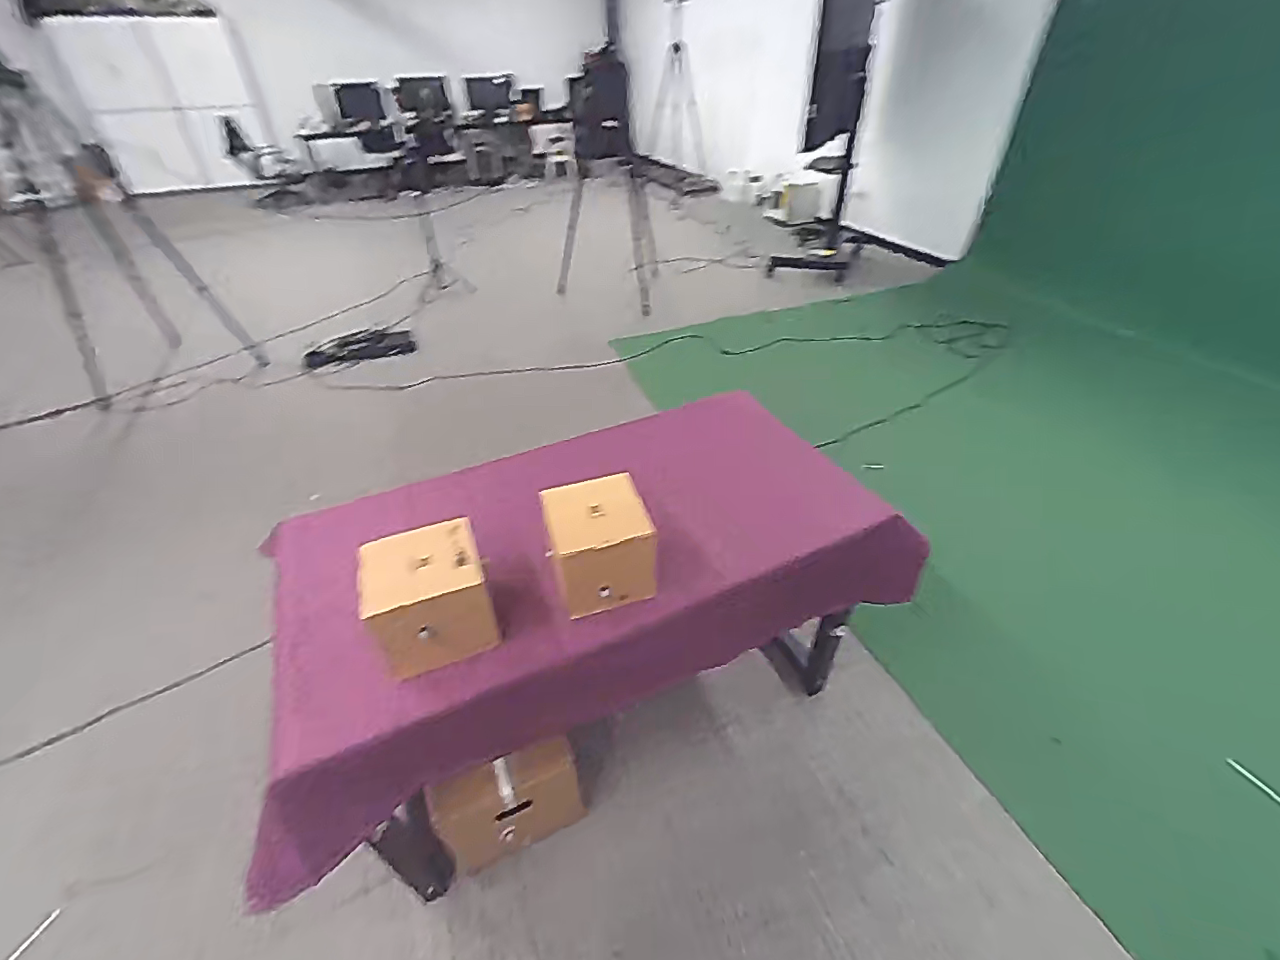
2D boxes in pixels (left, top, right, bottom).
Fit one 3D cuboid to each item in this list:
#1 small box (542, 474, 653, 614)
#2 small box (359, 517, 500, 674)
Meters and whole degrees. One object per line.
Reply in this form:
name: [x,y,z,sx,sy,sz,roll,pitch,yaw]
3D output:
small box: [-0.080,0.117,1.003,0.168,0.176,0.179,-13,41,-13]
small box: [-0.352,0.196,0.911,0.179,0.176,0.168,-16,42,-16]
